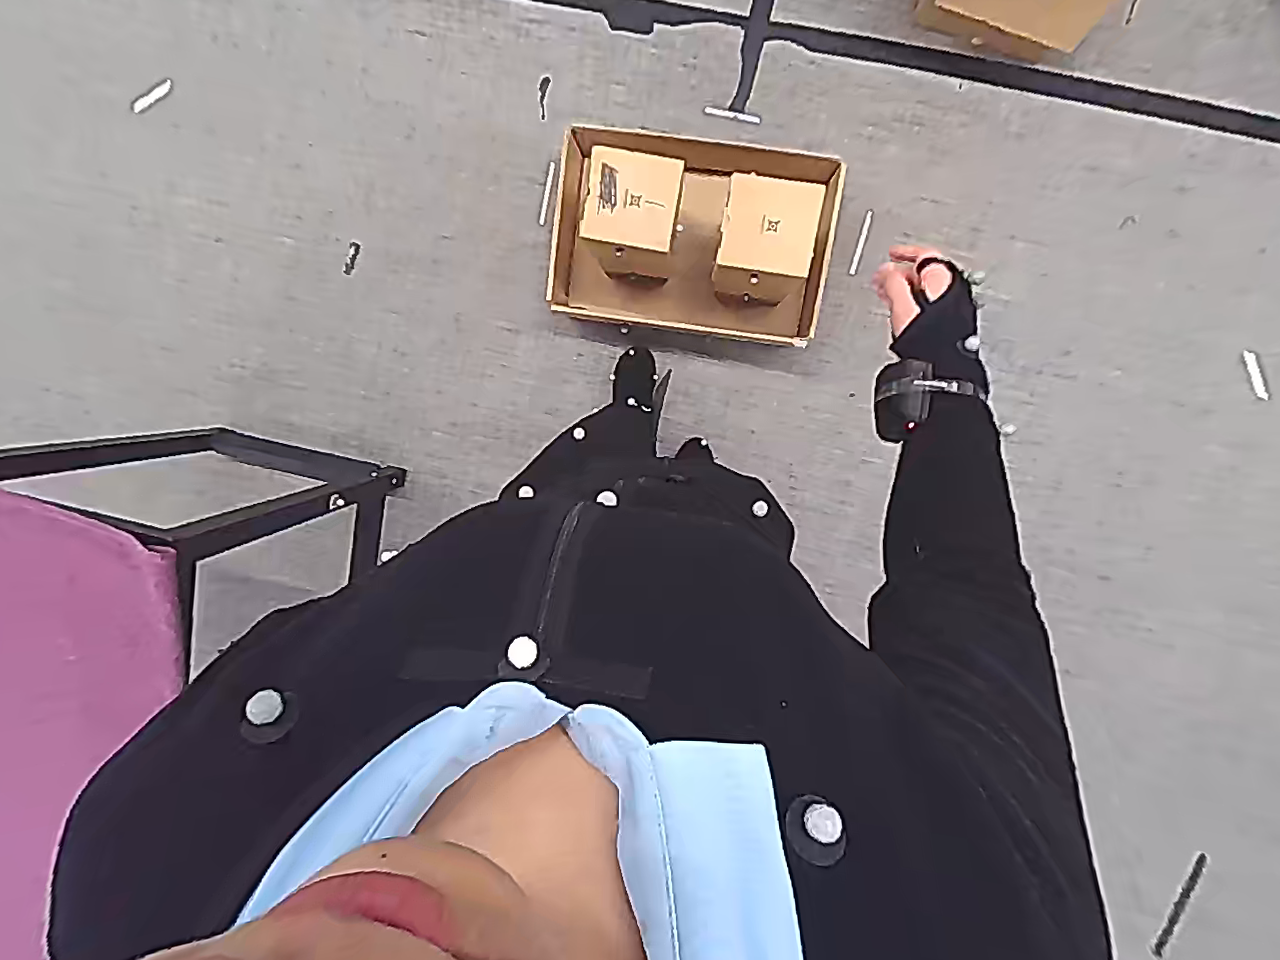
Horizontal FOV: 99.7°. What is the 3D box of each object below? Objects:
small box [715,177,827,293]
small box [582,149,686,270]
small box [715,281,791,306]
[{"bbox_3d":[0.253,-0.483,1.089,0.179,0.176,0.168,10,101,4],"label":"small box"},{"bbox_3d":[-0.009,-0.538,1.099,0.179,0.176,0.168,11,101,1],"label":"small box"},{"bbox_3d":[0.271,-0.511,1.248,0.168,0.176,0.179,10,100,3],"label":"small box"}]
